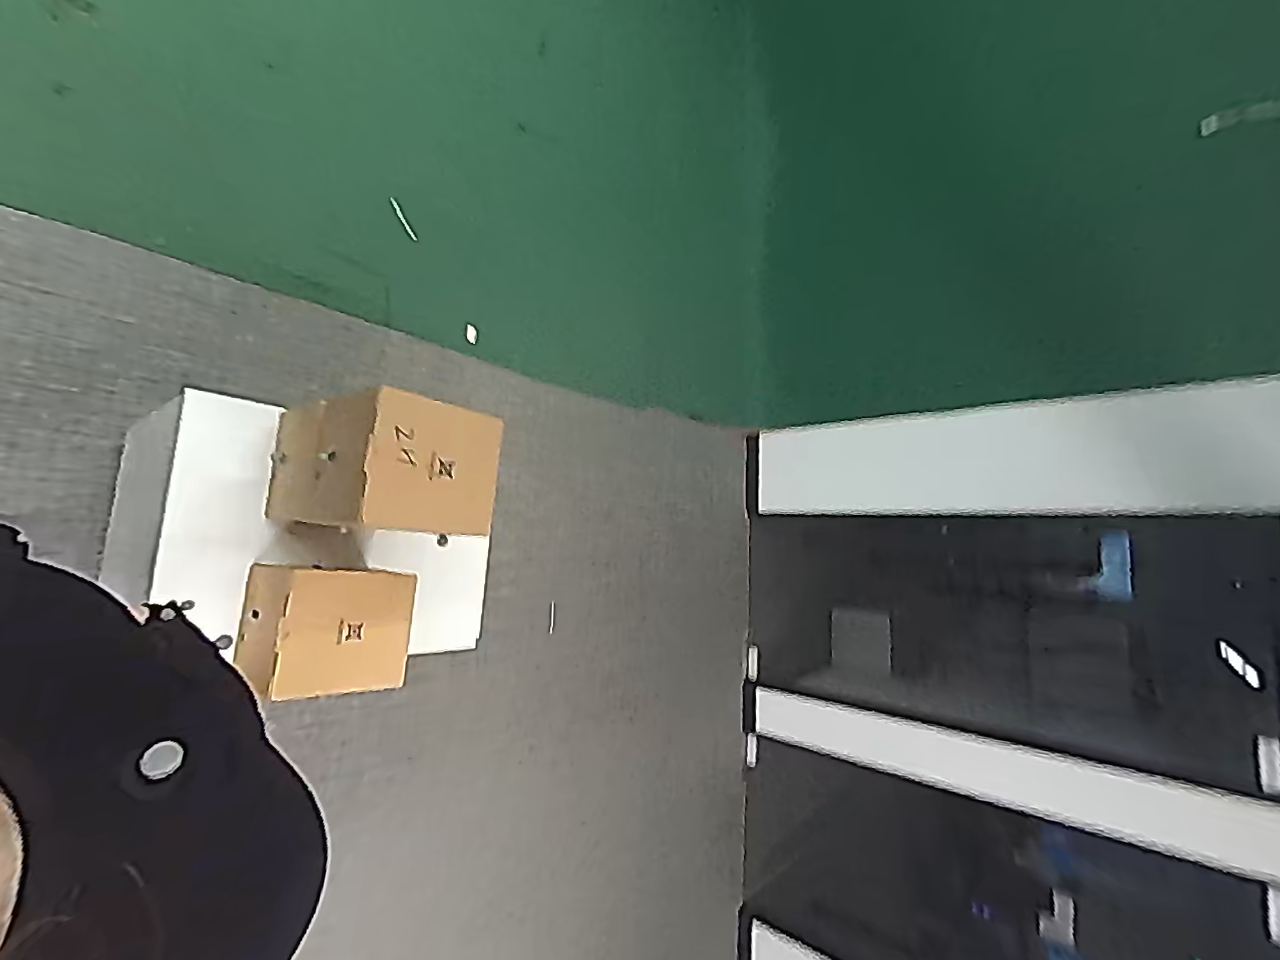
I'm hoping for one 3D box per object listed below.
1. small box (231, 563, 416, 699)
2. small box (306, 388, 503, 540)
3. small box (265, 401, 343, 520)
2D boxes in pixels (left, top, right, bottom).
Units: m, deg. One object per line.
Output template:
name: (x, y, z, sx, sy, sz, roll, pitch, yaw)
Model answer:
small box: (-0.466, 0.213, 0.801, 0.179, 0.176, 0.168, 15, 76, -48)
small box: (-0.316, -0.013, 0.733, 0.179, 0.176, 0.168, 15, 77, -49)
small box: (-0.443, -0.015, 0.837, 0.179, 0.176, 0.168, 13, 79, -48)
